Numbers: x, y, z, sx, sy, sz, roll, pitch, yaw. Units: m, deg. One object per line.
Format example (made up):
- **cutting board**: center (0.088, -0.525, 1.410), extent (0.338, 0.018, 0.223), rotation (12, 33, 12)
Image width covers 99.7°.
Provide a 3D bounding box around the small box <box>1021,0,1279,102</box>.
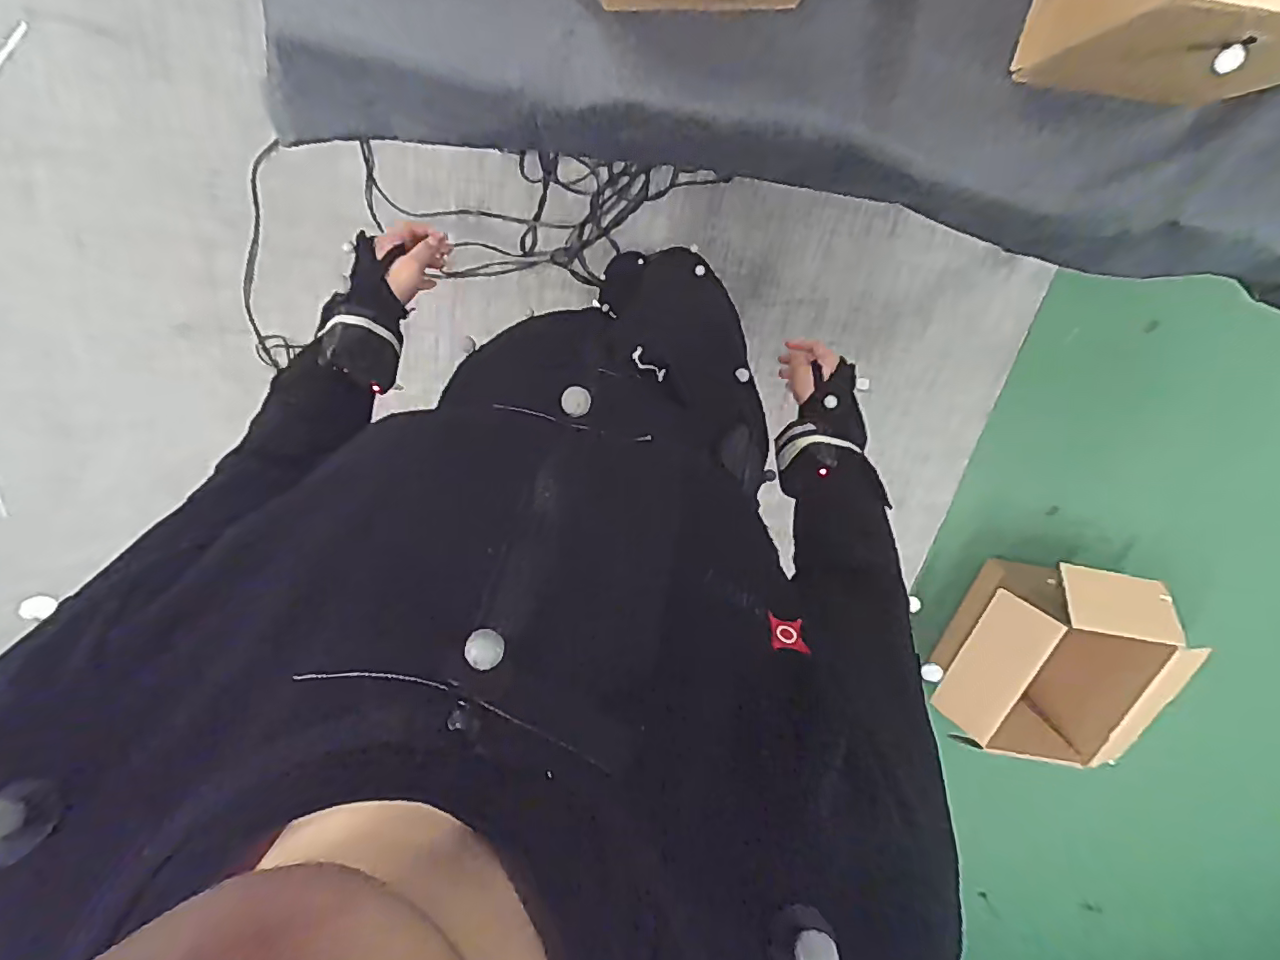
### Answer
- **small box**: center (0.423, -0.382, 0.371), extent (0.179, 0.176, 0.168), rotation (7, 113, -2)
